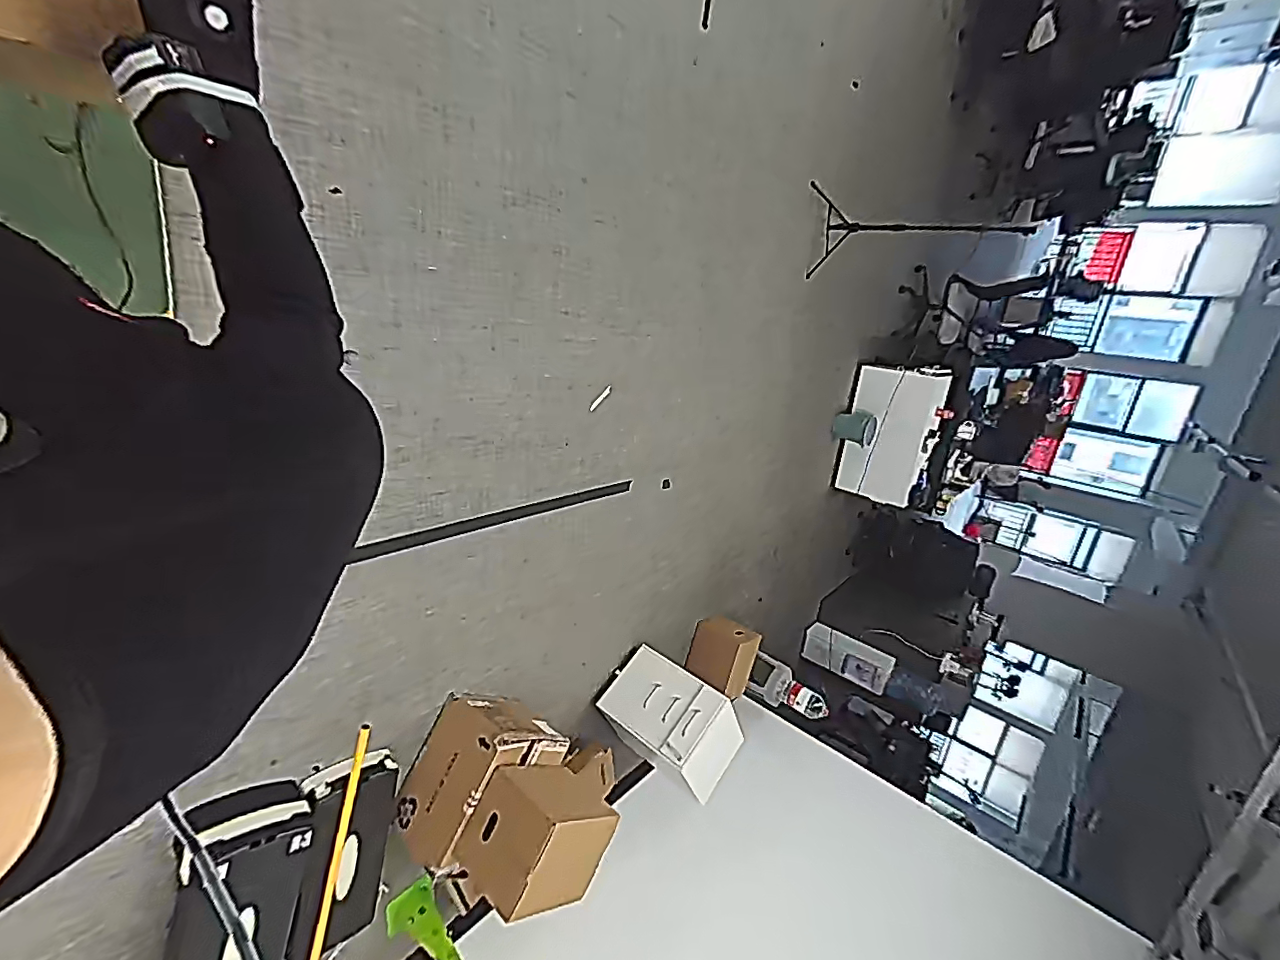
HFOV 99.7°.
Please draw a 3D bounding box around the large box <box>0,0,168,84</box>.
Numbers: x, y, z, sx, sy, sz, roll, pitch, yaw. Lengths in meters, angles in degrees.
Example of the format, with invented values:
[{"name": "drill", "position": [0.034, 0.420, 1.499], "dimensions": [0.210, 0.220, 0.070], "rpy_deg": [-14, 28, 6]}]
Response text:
[{"name": "large box", "position": [-0.586, -0.471, 0.299], "dimensions": [0.408, 0.320, 0.320], "rpy_deg": [-18, 125, -47]}]
